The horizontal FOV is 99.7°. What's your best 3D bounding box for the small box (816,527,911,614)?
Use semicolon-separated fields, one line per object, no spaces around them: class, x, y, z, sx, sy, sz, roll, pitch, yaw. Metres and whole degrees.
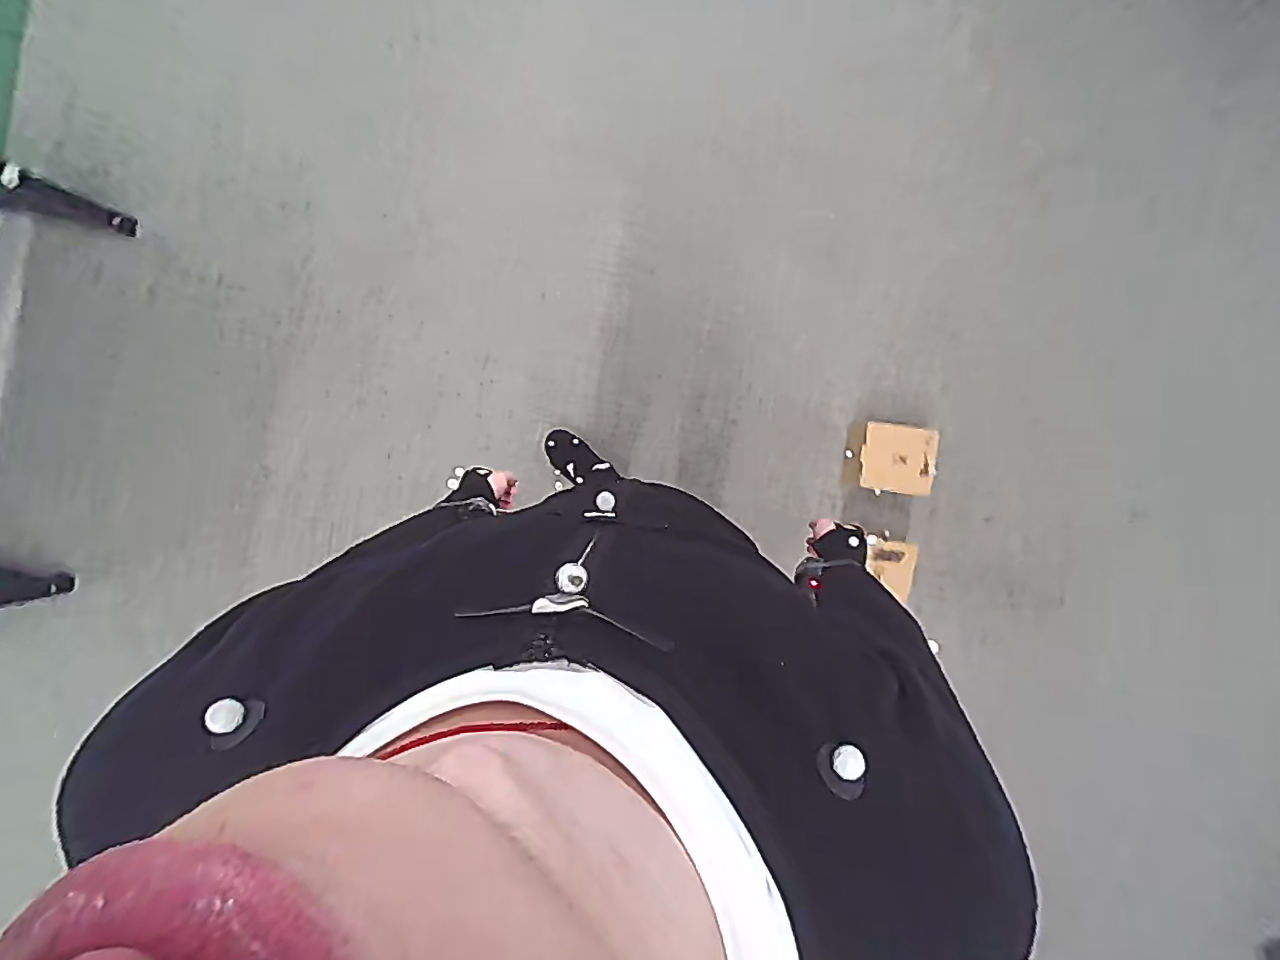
small box;0.585;0.232;1.439;0.168;0.176;0.179;17;92;6

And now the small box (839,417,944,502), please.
small box;0.651;-0.047;1.423;0.168;0.176;0.179;-21;88;2
